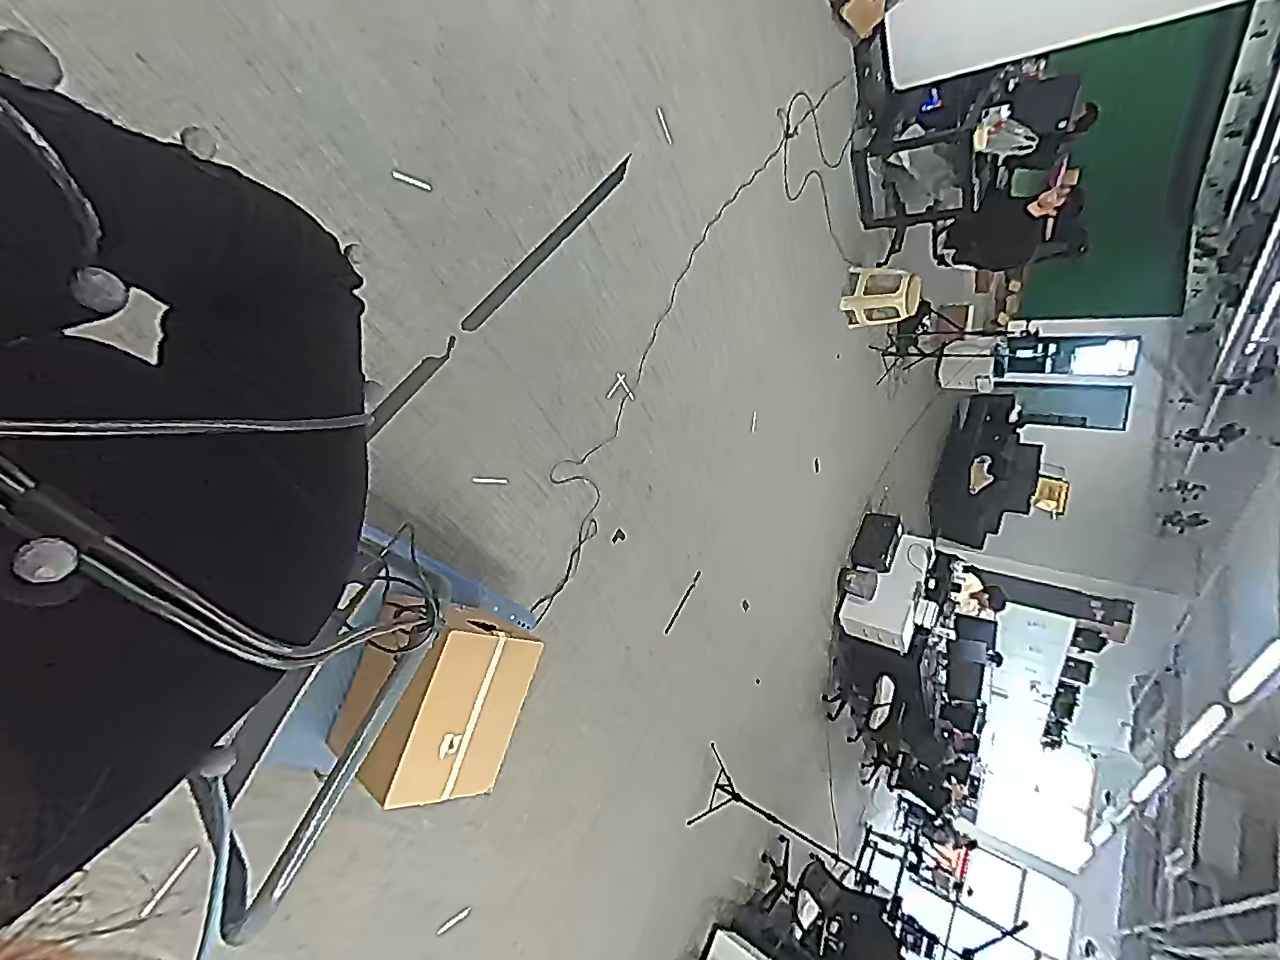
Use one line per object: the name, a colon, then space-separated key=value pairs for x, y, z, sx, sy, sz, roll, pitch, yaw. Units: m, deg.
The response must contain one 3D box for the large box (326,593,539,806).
large box: x=-0.531 y=0.544 z=1.405 sx=0.320 sy=0.320 sz=0.408 roll=30 pitch=76 yaw=-49
